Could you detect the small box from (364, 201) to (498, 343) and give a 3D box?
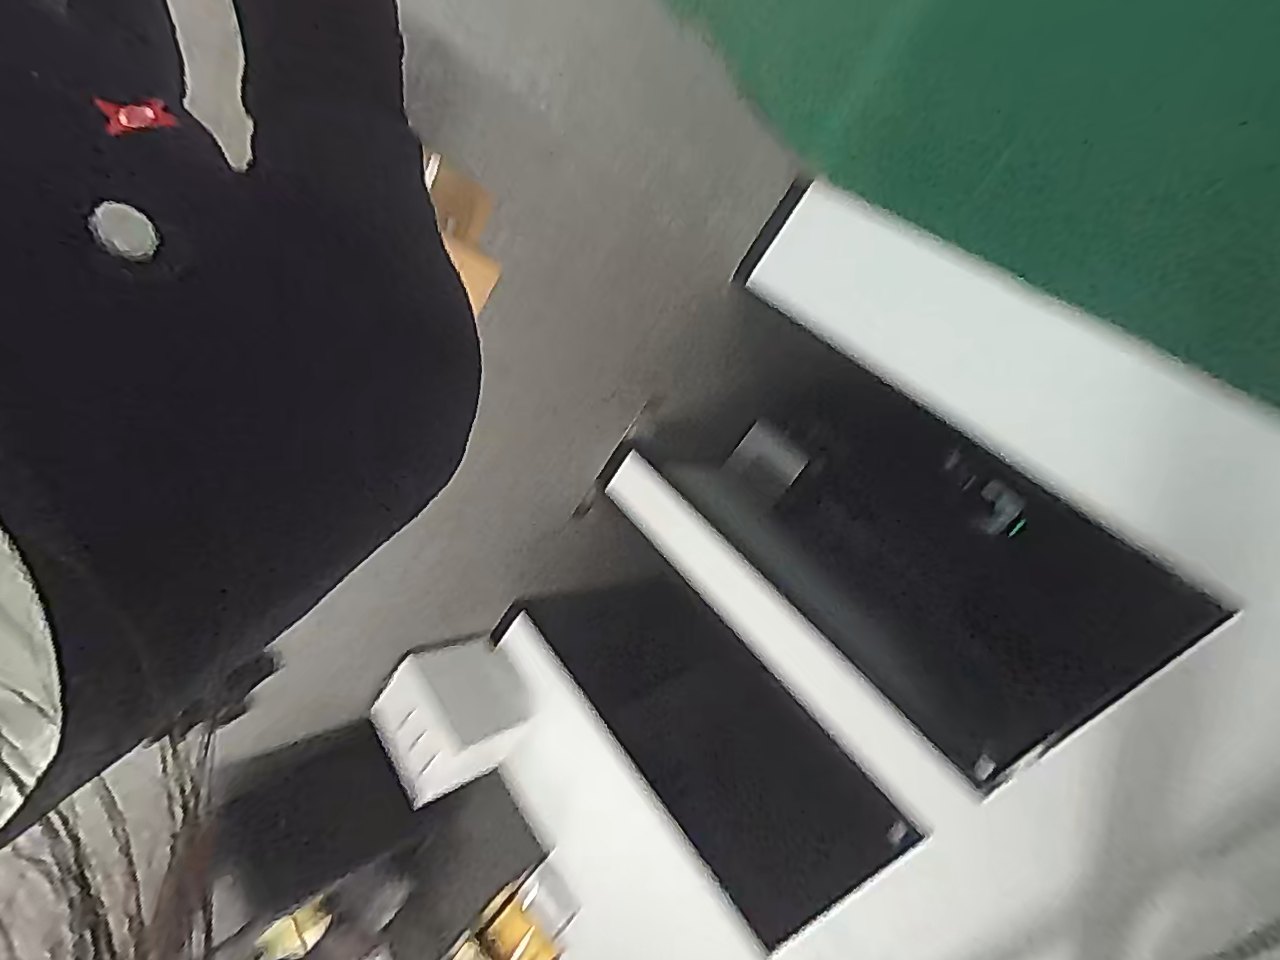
[{"bbox_3d":[-0.427,-0.416,1.090,0.179,0.176,0.168,-52,149,14],"label":"small box"}]
